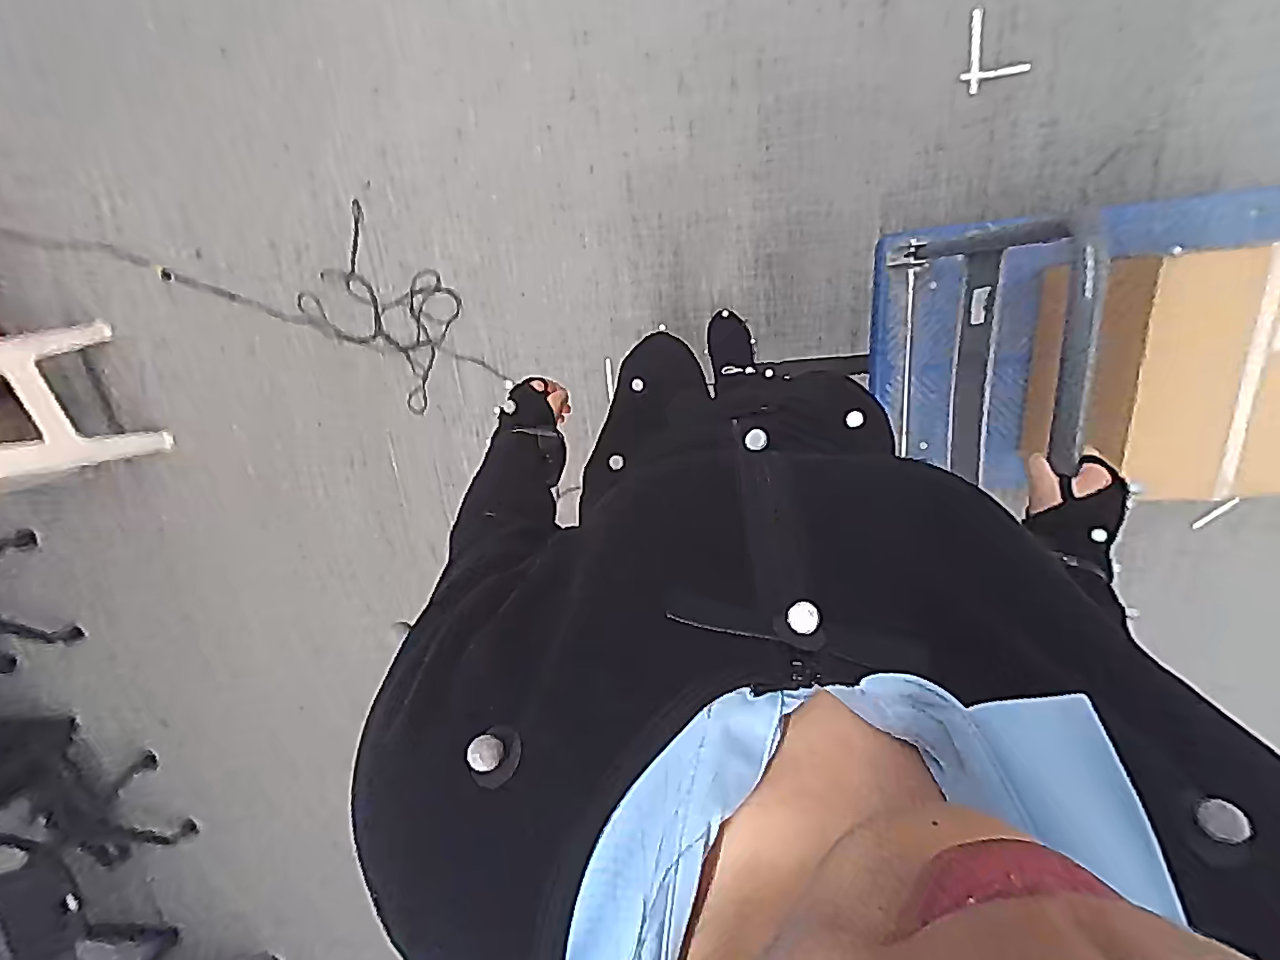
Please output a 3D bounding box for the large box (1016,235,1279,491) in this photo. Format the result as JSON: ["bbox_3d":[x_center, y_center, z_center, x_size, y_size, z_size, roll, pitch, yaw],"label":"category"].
[{"bbox_3d":[0.971,-0.222,1.026,0.320,0.320,0.408,-4,106,7],"label":"large box"}]
